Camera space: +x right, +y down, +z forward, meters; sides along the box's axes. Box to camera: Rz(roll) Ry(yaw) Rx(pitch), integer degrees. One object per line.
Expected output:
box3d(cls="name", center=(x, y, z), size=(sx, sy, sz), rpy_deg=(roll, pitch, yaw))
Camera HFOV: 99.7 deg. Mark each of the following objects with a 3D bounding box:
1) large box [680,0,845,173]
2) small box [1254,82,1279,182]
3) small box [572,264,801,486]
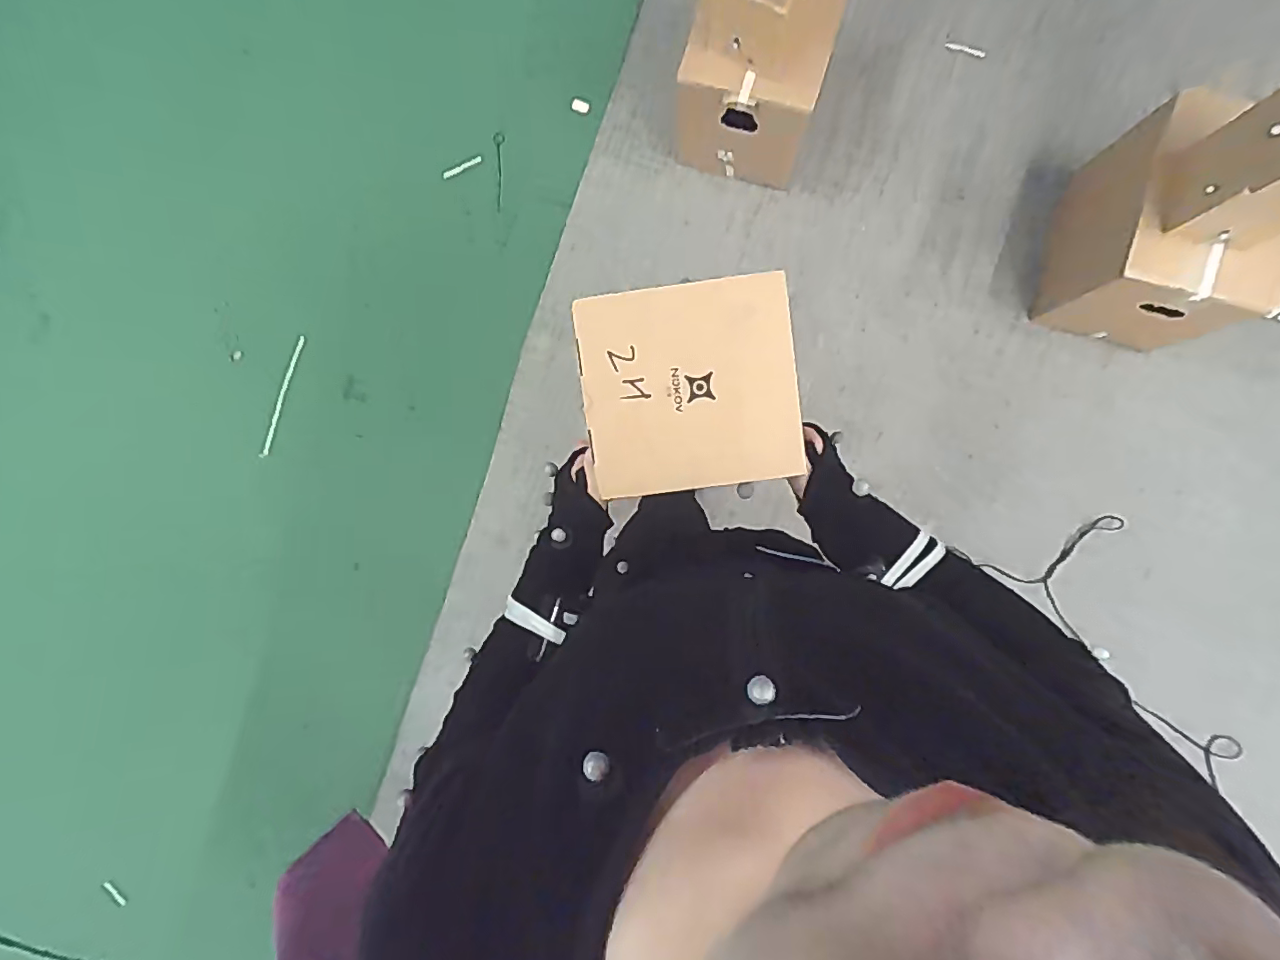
box3d(cls="large box", center=(0.301, -1.057, 1.323), size=(0.320, 0.320, 0.408), rpy_deg=(18, 90, 4))
box3d(cls="small box", center=(1.146, -0.584, 0.850), size=(0.168, 0.176, 0.179), rpy_deg=(10, 91, 6))
box3d(cls="small box", center=(0.040, -0.090, 0.518), size=(0.179, 0.176, 0.168), rpy_deg=(-7, 94, 2))
